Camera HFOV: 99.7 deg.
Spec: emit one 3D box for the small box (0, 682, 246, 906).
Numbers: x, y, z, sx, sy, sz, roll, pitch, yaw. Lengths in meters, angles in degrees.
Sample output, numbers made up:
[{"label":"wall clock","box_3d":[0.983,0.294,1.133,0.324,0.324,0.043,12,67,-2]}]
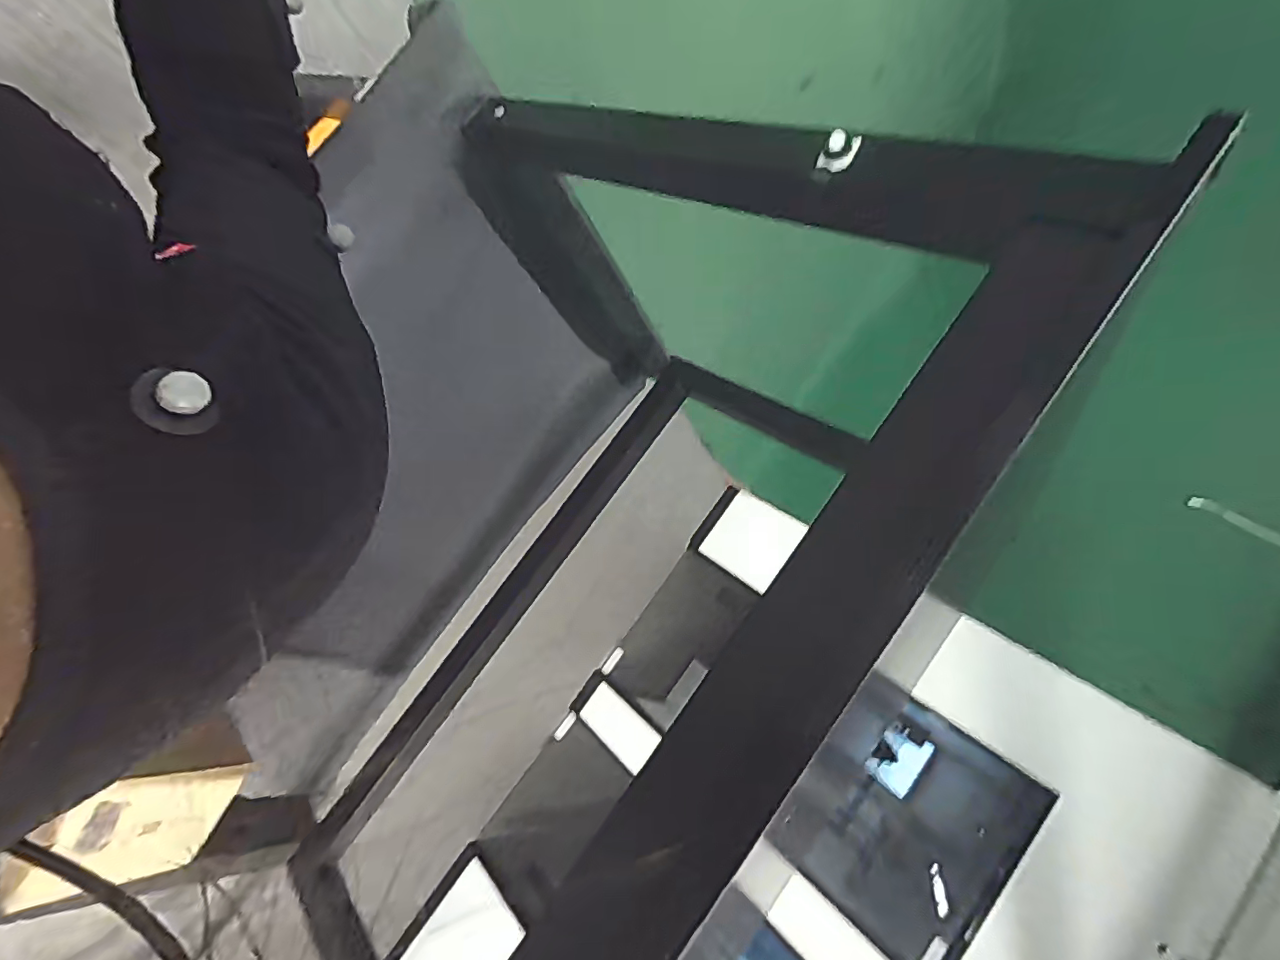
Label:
[{"label":"small box","box_3d":[-0.666,0.379,0.693,0.168,0.176,0.179,-57,148,-2]}]
